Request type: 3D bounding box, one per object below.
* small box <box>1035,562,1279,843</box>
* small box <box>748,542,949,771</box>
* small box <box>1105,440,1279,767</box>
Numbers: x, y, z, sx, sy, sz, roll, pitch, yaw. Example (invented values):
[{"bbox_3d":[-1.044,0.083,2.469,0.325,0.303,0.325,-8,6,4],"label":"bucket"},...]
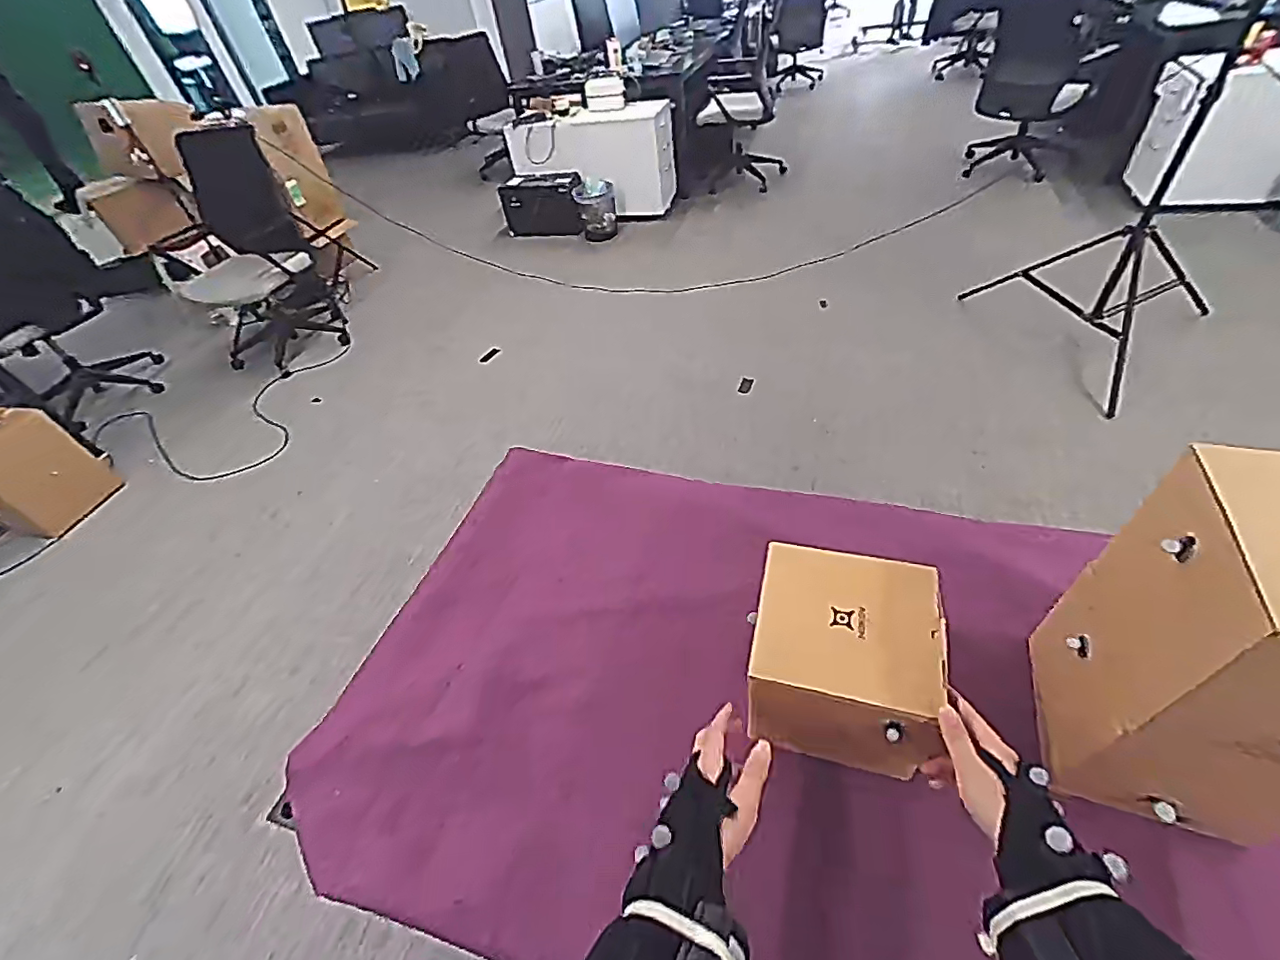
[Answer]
[{"bbox_3d":[0.512,0.212,0.524,0.168,0.176,0.179,10,49,20],"label":"small box"},{"bbox_3d":[0.218,0.194,0.596,0.179,0.176,0.168,8,48,17],"label":"small box"},{"bbox_3d":[0.494,0.098,0.405,0.168,0.176,0.179,10,49,20],"label":"small box"}]
